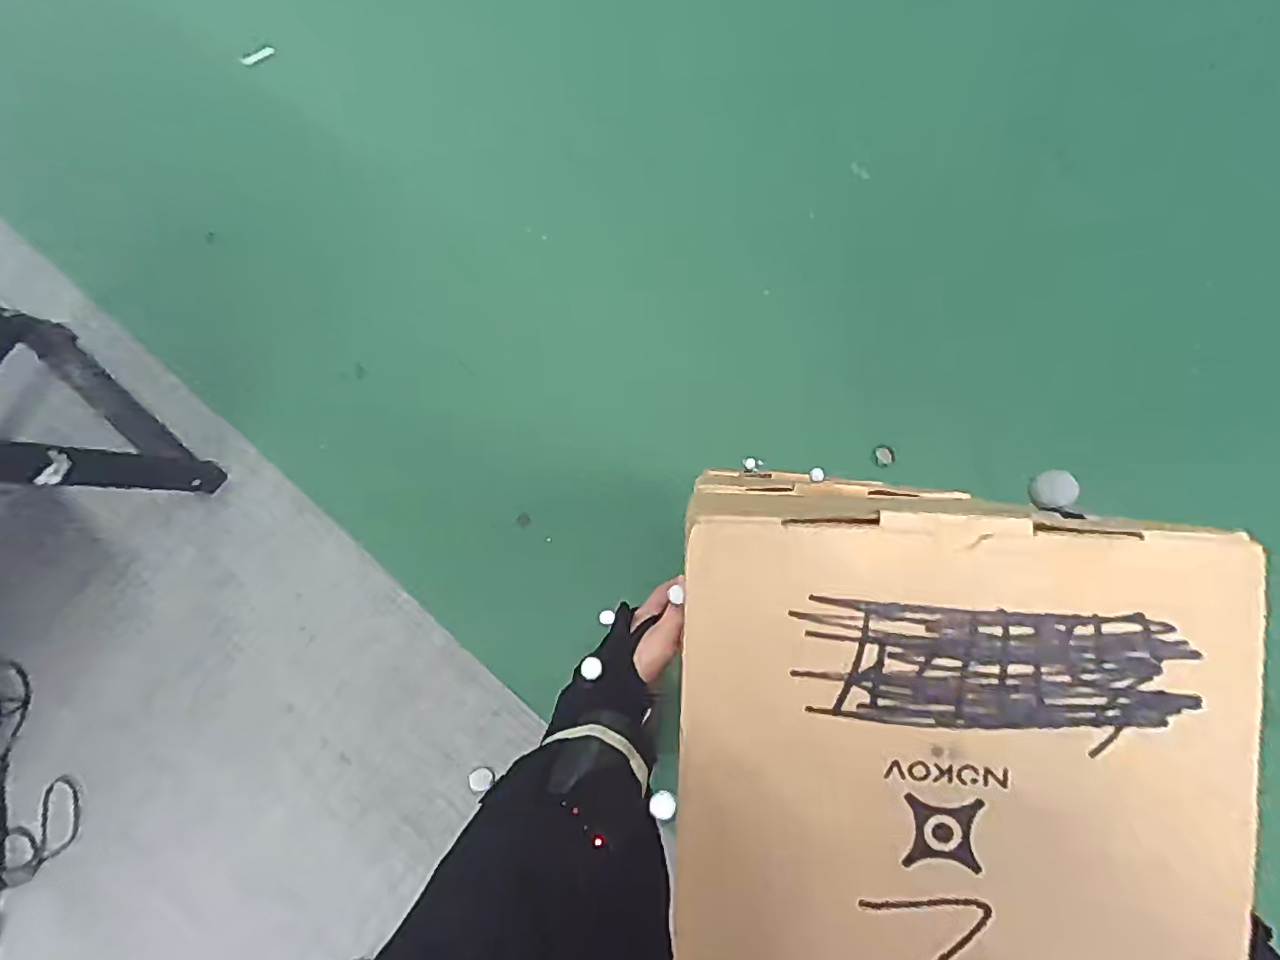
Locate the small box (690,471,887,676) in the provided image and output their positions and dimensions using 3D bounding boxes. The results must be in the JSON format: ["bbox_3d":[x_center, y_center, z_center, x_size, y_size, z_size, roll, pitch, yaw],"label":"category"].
[{"bbox_3d":[0.141,0.082,0.568,0.168,0.176,0.179,4,93,7],"label":"small box"}]
